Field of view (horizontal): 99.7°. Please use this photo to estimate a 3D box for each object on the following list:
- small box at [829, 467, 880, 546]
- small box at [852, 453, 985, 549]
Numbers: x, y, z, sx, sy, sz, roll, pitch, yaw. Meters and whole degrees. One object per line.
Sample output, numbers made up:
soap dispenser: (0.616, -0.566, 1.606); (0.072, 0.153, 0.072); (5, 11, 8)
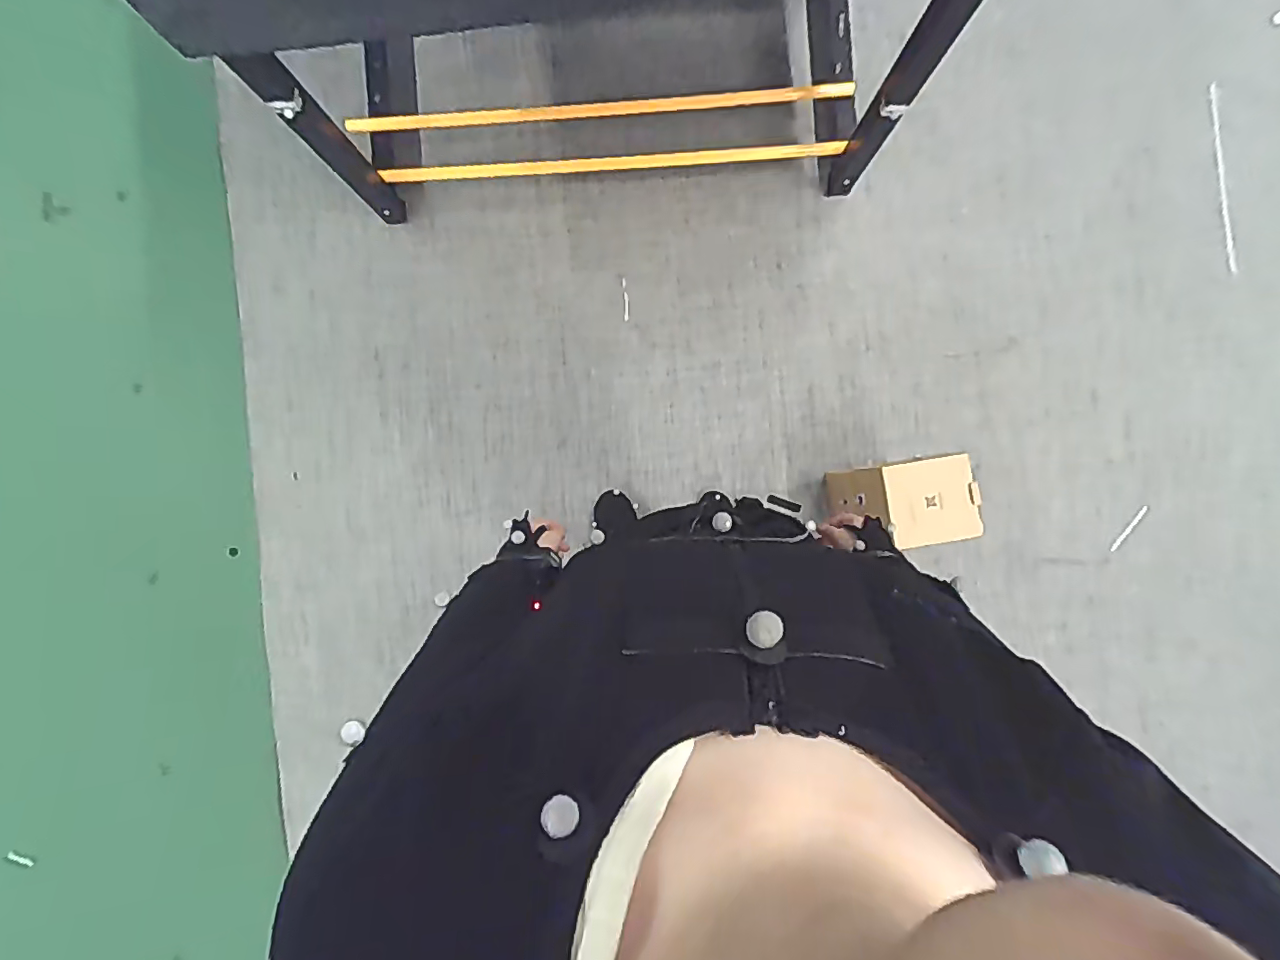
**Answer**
small box: (0.565, 0.053, 1.284); (0.168, 0.176, 0.179); (-10, 89, 1)
small box: (0.567, 0.040, 1.121); (0.179, 0.176, 0.168); (-11, 88, 1)
